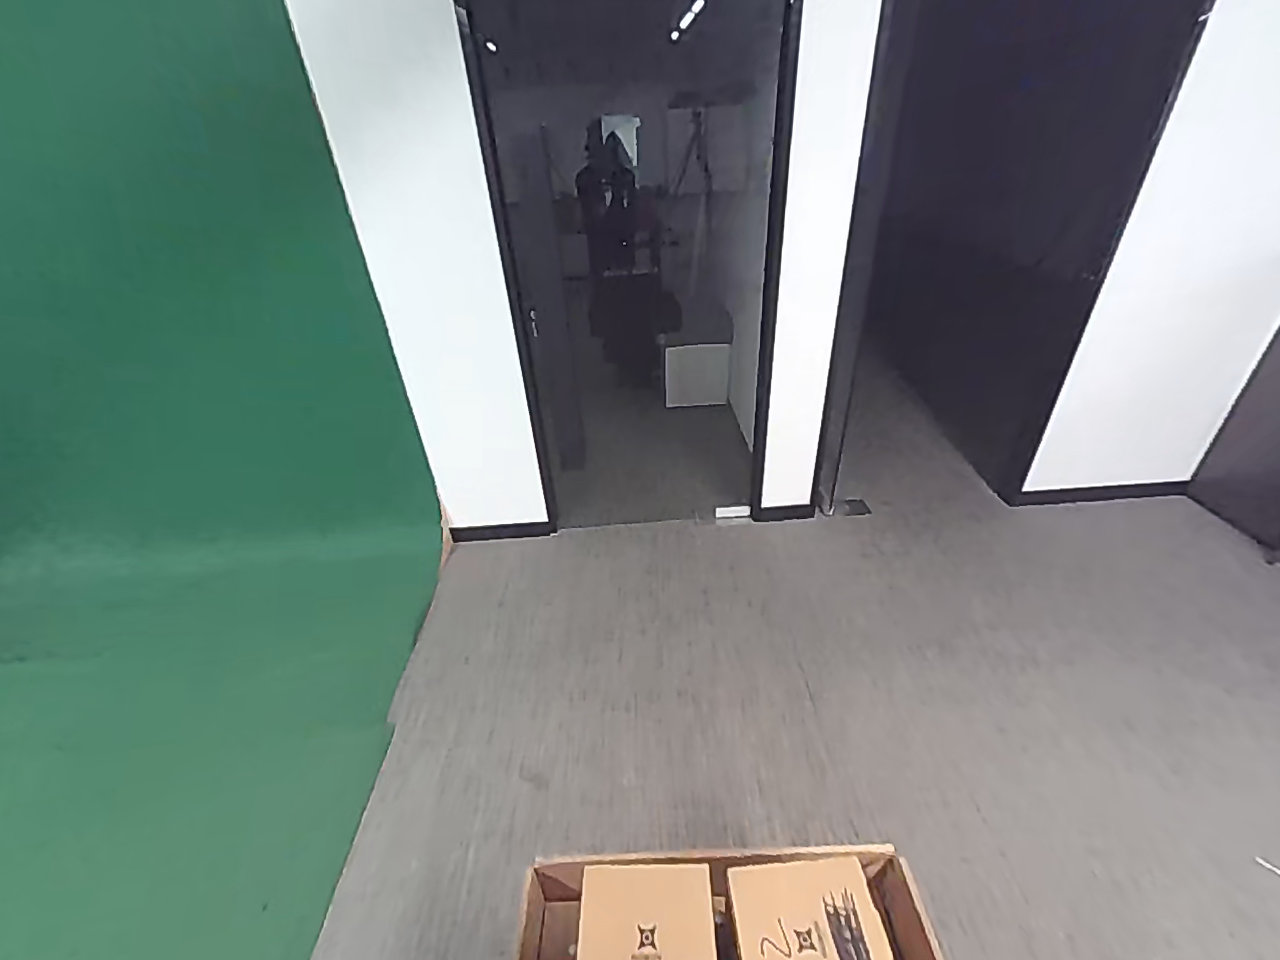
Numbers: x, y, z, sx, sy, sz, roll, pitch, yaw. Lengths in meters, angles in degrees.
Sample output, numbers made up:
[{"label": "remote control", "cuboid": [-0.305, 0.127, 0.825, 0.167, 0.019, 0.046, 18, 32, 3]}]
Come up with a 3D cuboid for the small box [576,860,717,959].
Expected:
[{"label": "small box", "cuboid": [0.010, 0.613, 0.676, 0.168, 0.176, 0.179, -2, 32, 2]}]
